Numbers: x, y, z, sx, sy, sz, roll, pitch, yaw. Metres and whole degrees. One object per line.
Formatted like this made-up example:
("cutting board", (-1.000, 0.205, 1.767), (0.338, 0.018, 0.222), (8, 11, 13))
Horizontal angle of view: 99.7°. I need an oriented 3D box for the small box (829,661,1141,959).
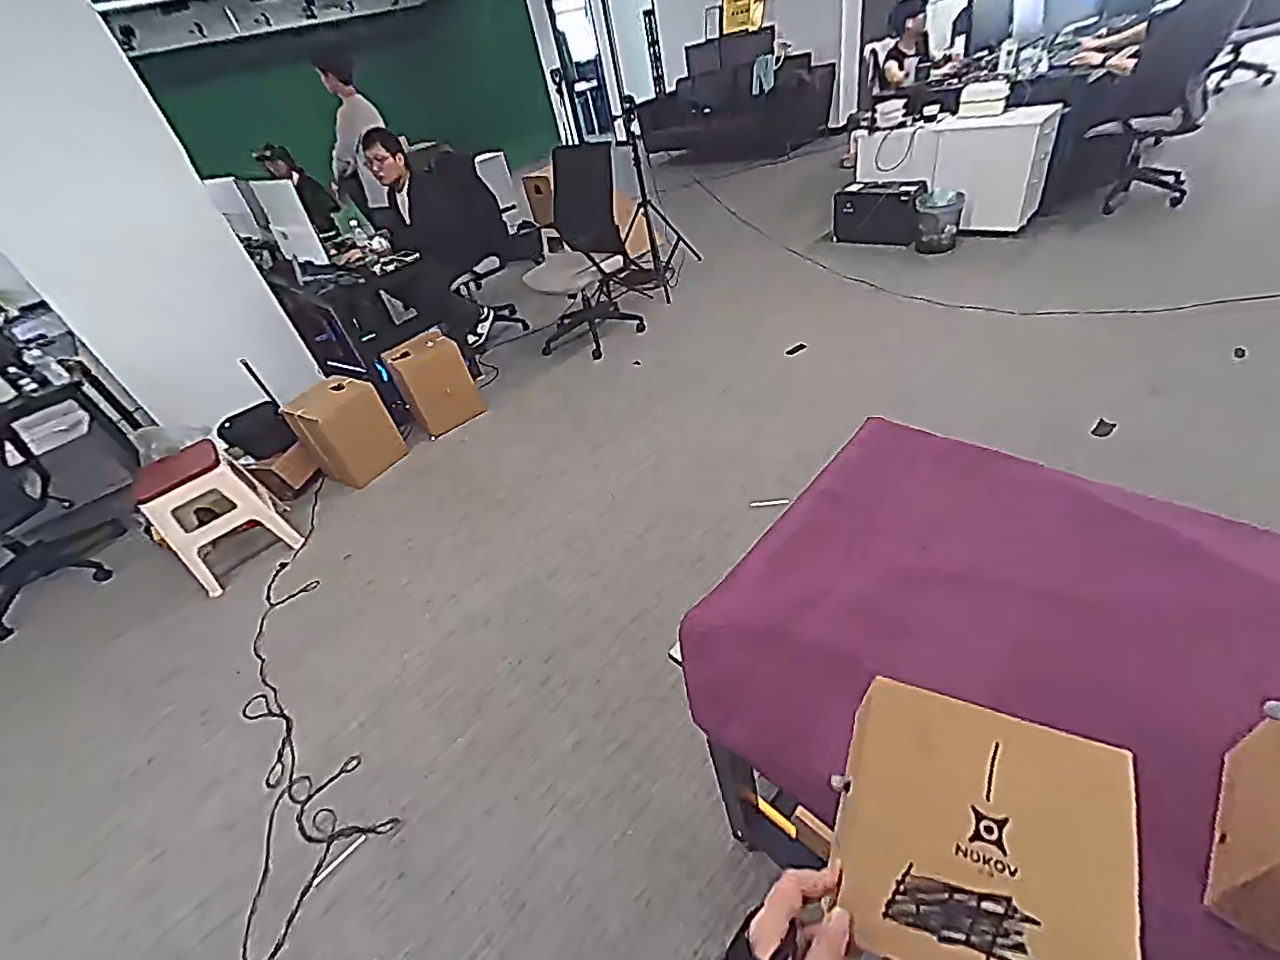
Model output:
("small box", (0.251, 0.273, 0.427), (0.168, 0.176, 0.179), (12, 61, 22))
